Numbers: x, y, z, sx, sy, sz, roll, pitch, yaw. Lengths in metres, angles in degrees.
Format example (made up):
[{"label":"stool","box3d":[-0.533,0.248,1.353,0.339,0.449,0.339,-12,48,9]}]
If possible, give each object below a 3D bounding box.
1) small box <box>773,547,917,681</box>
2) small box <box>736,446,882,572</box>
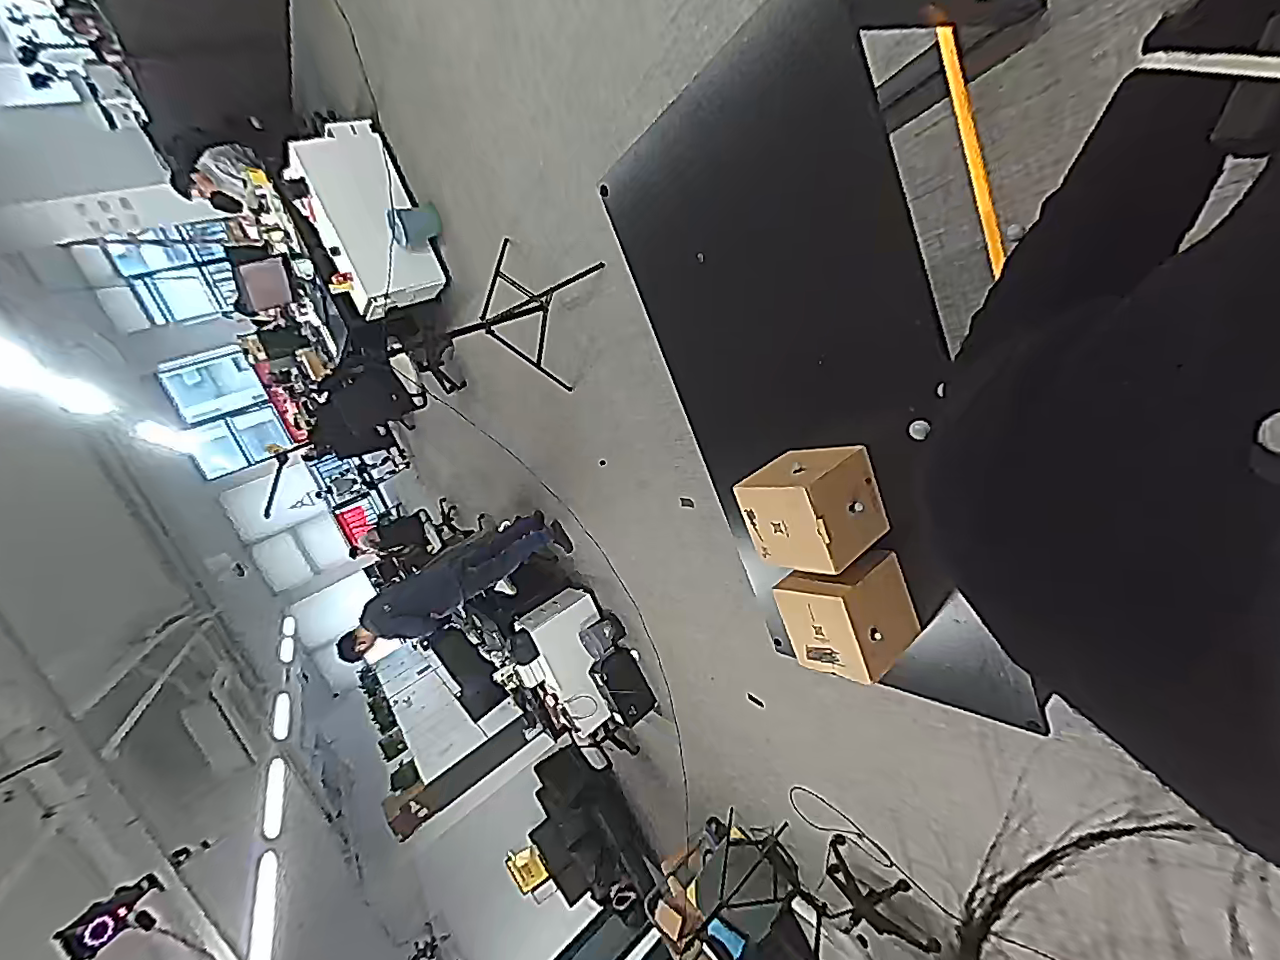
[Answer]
[{"label":"small box","box3d":[0.392,0.241,1.024,0.168,0.176,0.179,-7,108,59]},{"label":"small box","box3d":[0.312,0.046,0.981,0.179,0.176,0.168,-2,113,57]}]
